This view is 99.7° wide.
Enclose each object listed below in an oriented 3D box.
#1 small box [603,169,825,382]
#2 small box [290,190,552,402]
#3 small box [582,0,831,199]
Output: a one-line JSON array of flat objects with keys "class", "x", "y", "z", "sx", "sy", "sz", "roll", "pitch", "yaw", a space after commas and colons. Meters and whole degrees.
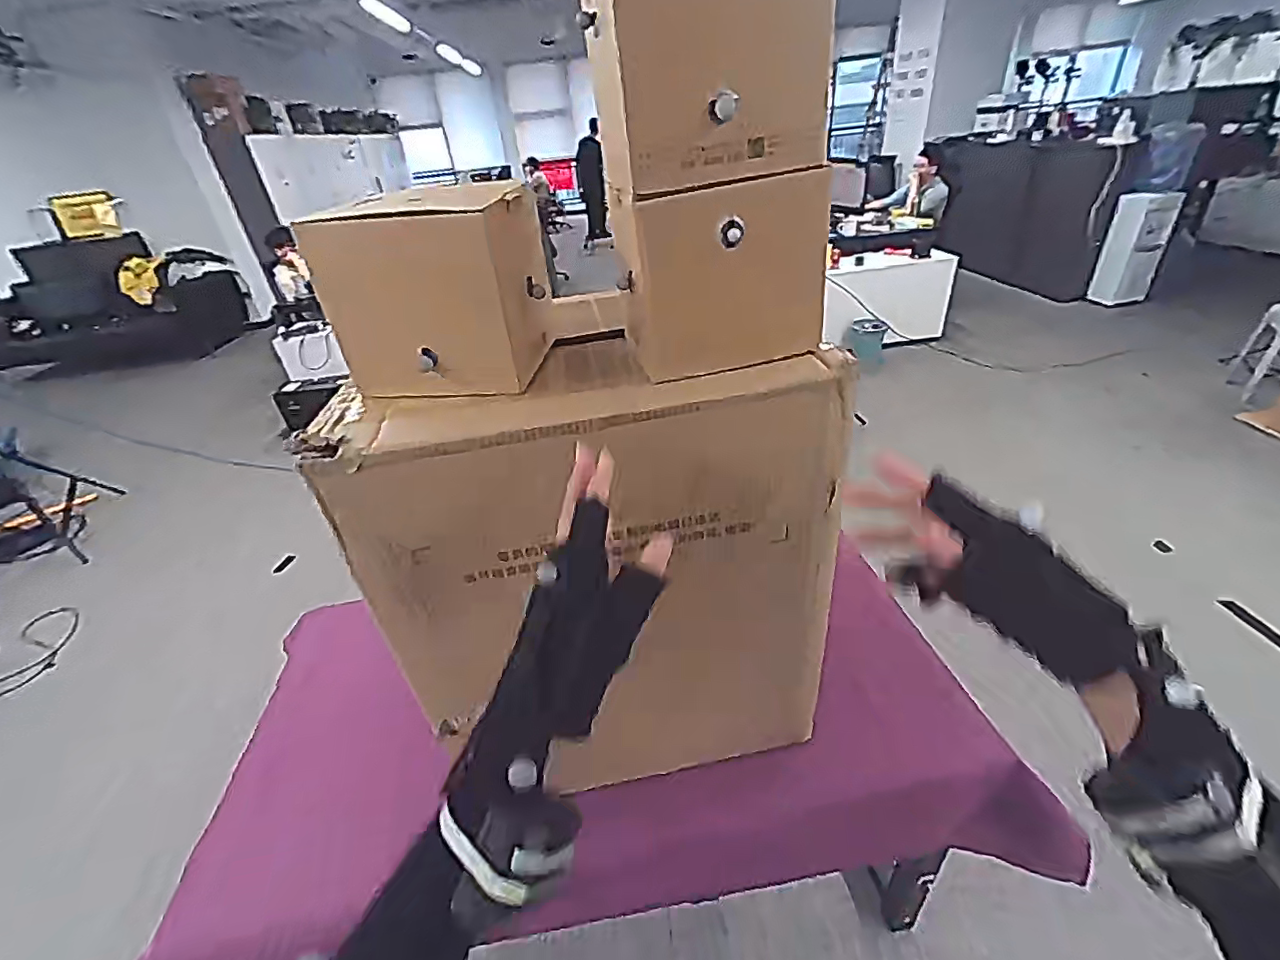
[{"class": "small box", "x": 0.070, "y": -0.213, "z": 0.554, "sx": 0.179, "sy": 0.176, "sz": 0.168, "roll": -12, "pitch": 34, "yaw": -6}, {"class": "small box", "x": -0.200, "y": -0.189, "z": 0.559, "sx": 0.179, "sy": 0.176, "sz": 0.168, "roll": 0, "pitch": 35, "yaw": 7}, {"class": "small box", "x": 0.046, "y": -0.350, "z": 0.466, "sx": 0.168, "sy": 0.176, "sz": 0.179, "roll": -12, "pitch": 35, "yaw": -4}]
